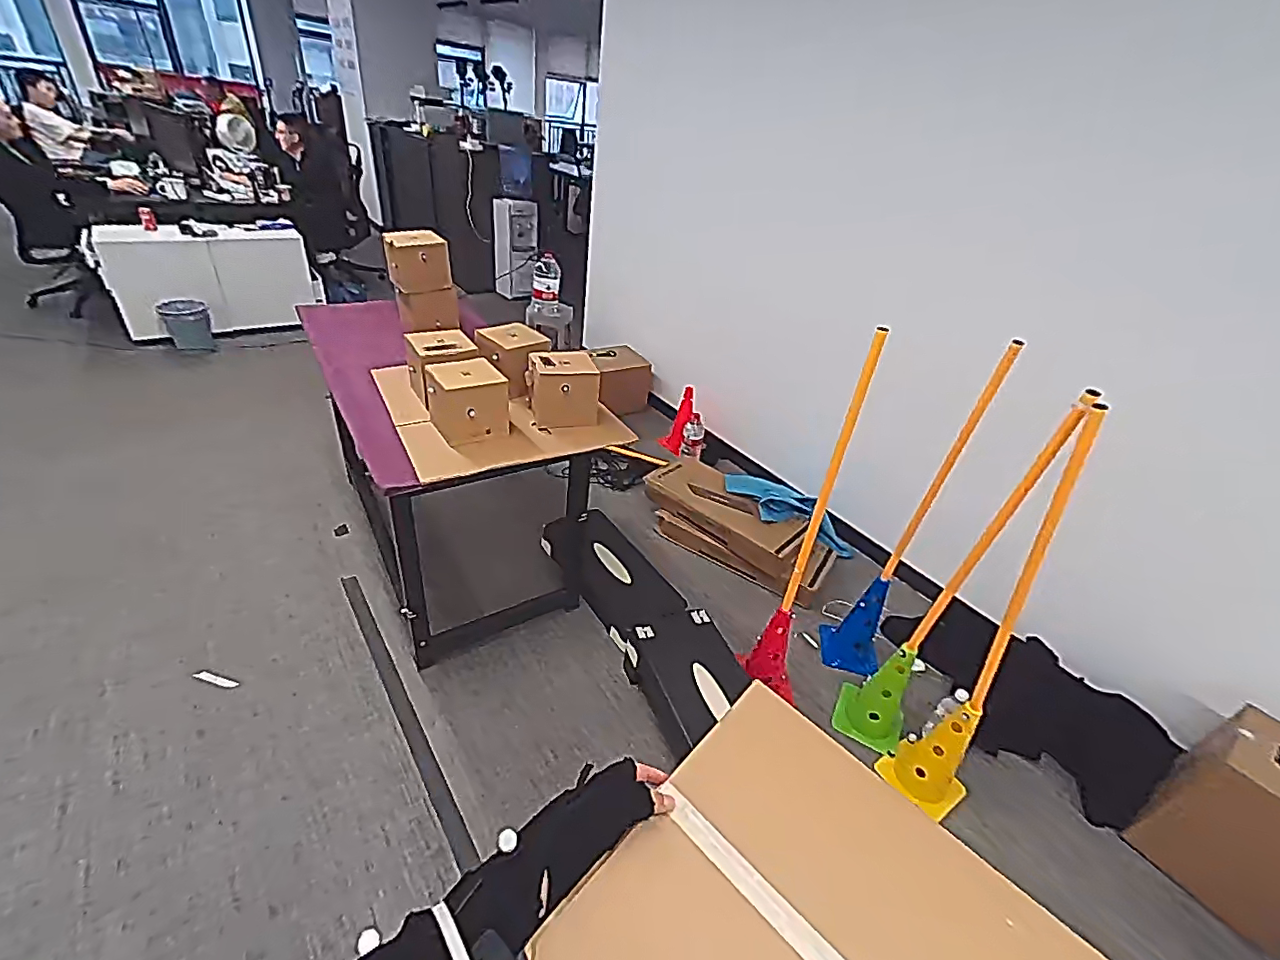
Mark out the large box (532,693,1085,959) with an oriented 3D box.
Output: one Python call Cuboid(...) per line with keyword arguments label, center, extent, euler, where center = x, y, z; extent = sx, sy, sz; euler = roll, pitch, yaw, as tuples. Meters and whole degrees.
Cuboid(label="large box", center=(0.148, 0.499, 0.497), extent=(0.408, 0.320, 0.320), euler=(35, 49, 29))
